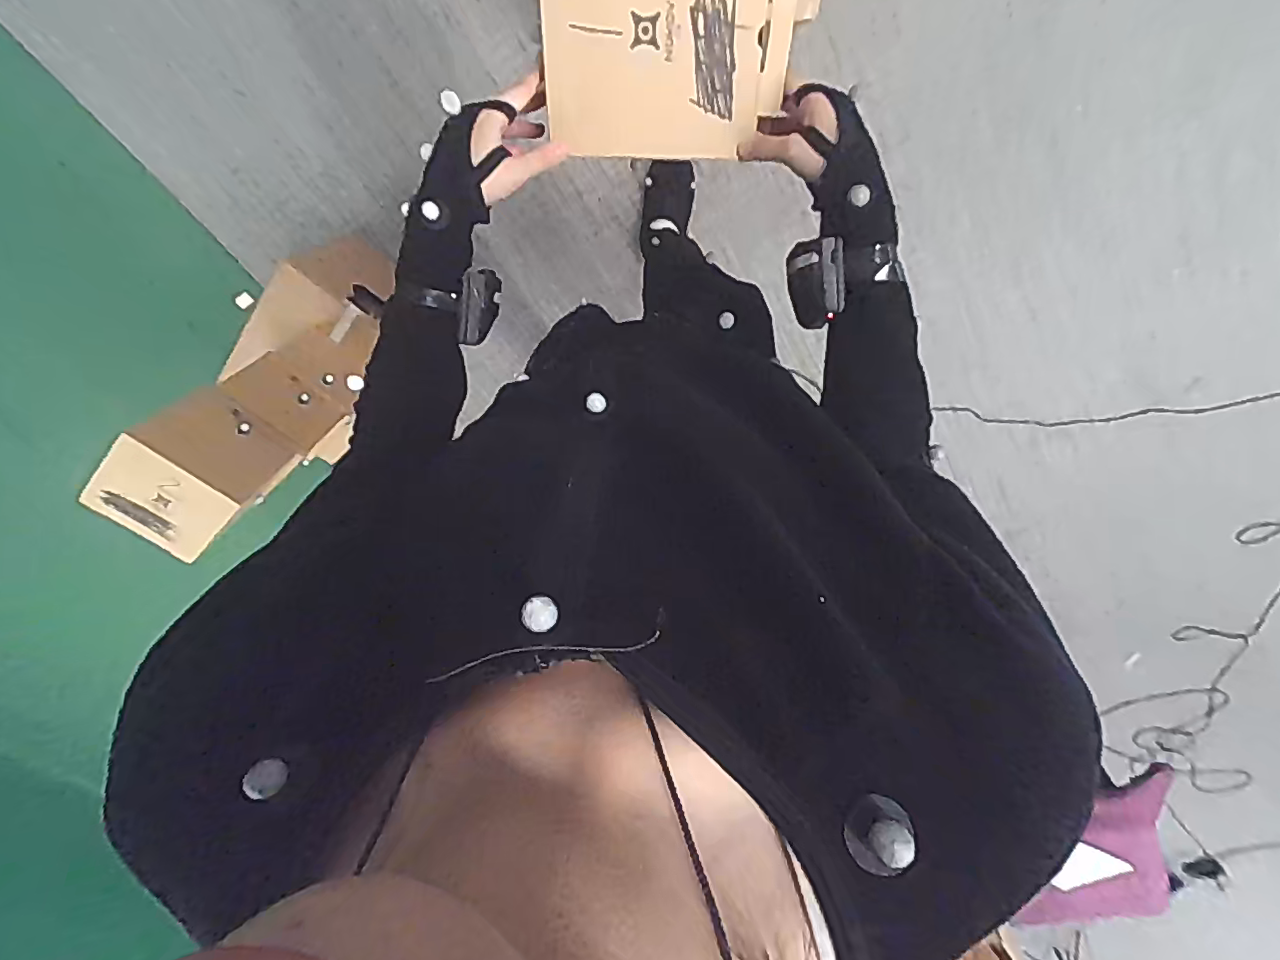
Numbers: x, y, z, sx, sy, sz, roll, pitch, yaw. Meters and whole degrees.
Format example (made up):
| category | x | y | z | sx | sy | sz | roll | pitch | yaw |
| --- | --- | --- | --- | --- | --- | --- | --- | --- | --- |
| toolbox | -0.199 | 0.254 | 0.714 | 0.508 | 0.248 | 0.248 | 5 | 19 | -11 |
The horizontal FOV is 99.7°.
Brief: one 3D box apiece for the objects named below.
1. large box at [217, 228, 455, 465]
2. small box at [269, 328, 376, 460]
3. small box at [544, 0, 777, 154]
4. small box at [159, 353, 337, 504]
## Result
| category | x | y | z | sx | sy | sz | roll | pitch | yaw |
| --- | --- | --- | --- | --- | --- | --- | --- | --- | --- |
| large box | -0.722 | -0.324 | 1.317 | 0.320 | 0.320 | 0.408 | 39 | 119 | -21 |
| small box | -0.688 | -0.182 | 1.116 | 0.168 | 0.176 | 0.179 | -35 | 117 | 22 |
| small box | 0.008 | -0.388 | 0.470 | 0.179 | 0.176 | 0.168 | -2 | 124 | -5 |
| small box | -0.694 | -0.096 | 0.978 | 0.179 | 0.176 | 0.168 | -34 | 117 | 22 |
